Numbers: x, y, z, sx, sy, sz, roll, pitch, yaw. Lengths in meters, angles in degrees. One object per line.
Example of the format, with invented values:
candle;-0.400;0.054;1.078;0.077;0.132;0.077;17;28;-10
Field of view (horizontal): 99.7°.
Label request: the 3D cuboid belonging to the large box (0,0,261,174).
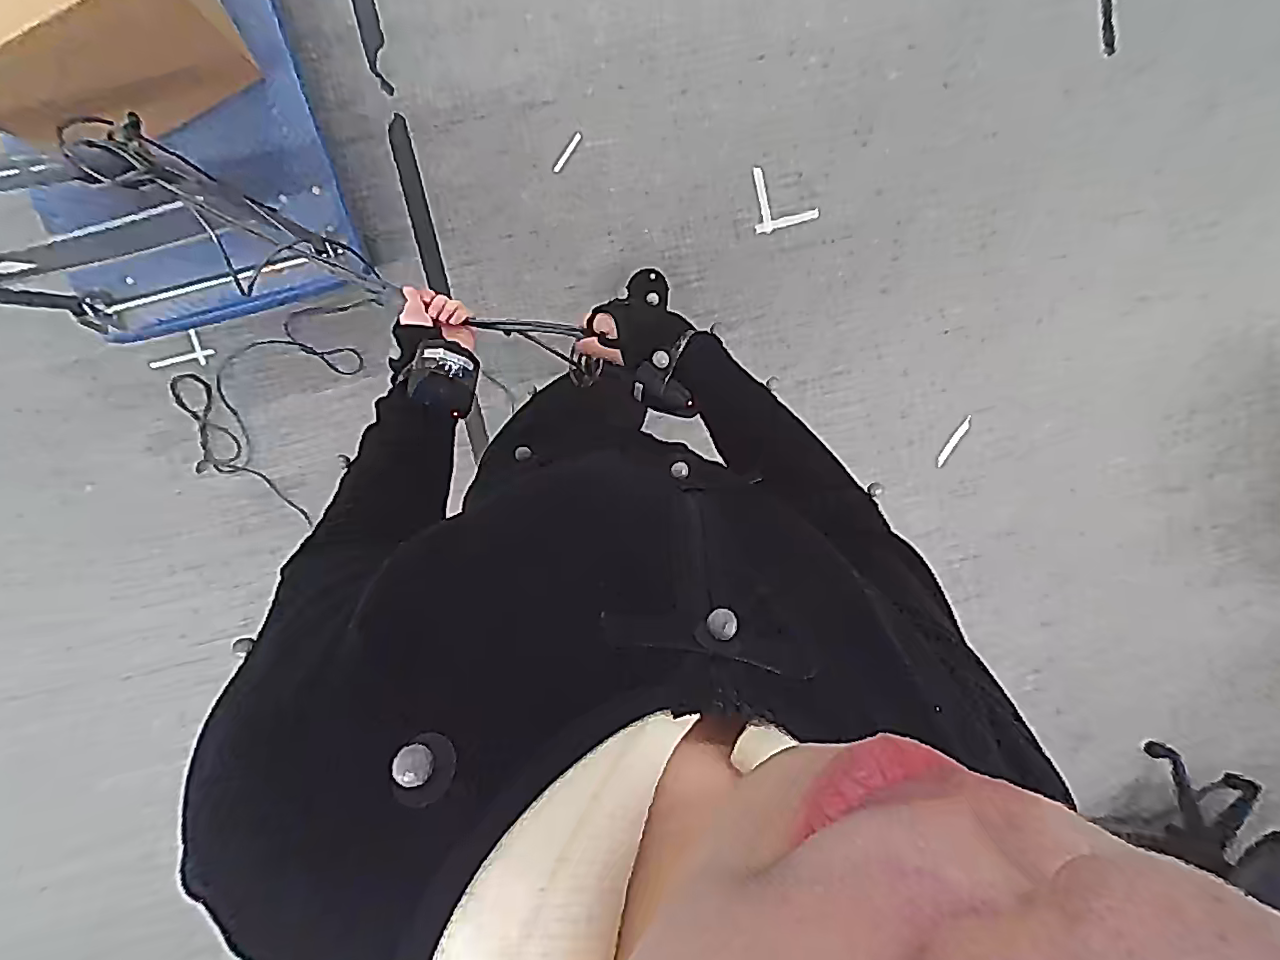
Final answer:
large box;-0.984;-0.811;0.912;0.408;0.320;0.320;-30;102;-1
